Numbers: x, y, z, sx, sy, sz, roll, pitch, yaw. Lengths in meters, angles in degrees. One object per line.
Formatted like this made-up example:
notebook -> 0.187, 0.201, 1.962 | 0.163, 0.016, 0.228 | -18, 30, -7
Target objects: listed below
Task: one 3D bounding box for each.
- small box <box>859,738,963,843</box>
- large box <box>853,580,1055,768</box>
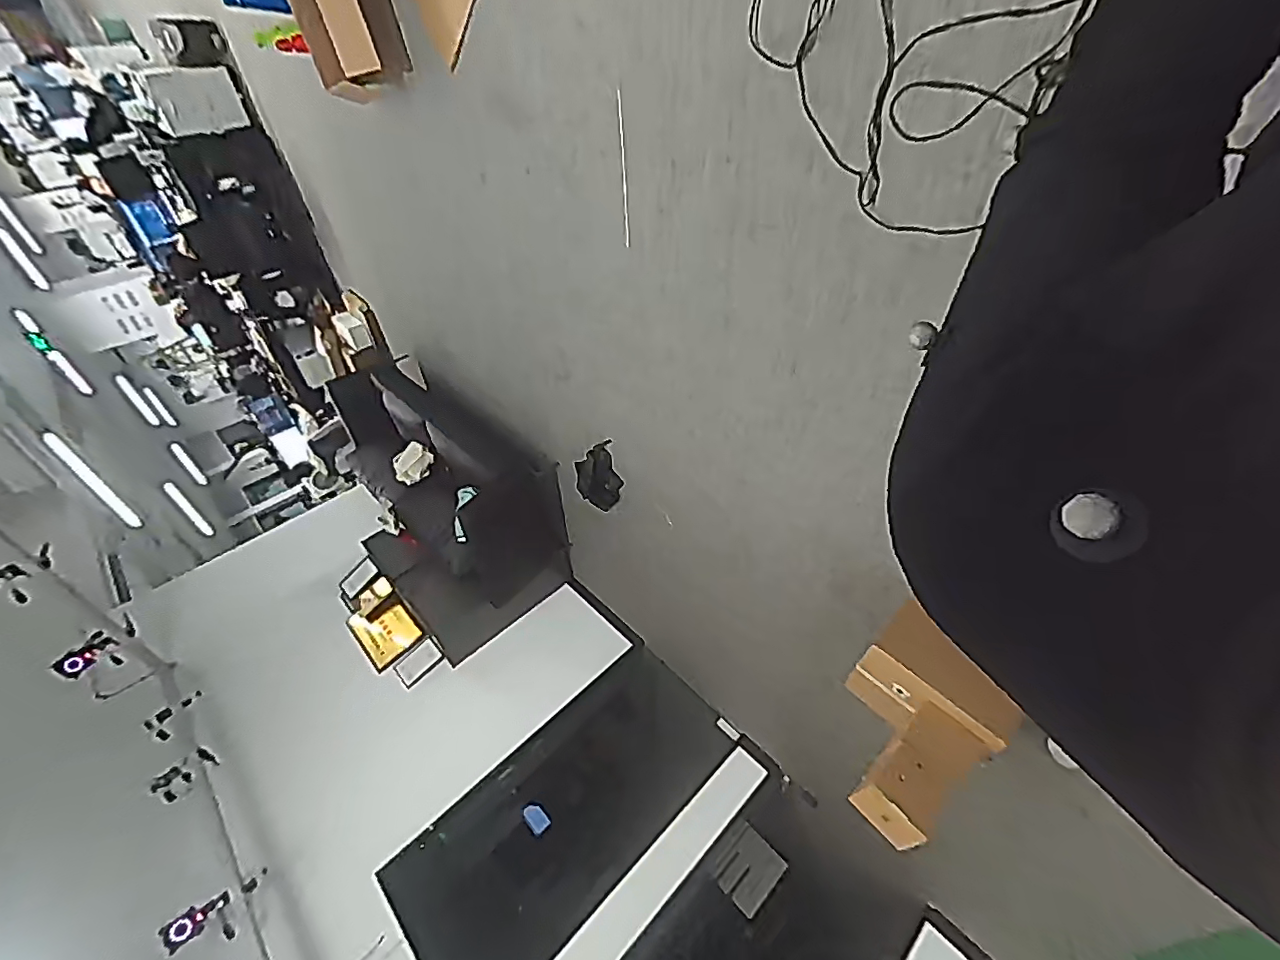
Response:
small box -> 0.734, 0.833, 1.461 | 0.168, 0.176, 0.179 | 42, 150, 28
large box -> 0.972, 0.601, 1.710 | 0.408, 0.320, 0.320 | 38, 146, 30
